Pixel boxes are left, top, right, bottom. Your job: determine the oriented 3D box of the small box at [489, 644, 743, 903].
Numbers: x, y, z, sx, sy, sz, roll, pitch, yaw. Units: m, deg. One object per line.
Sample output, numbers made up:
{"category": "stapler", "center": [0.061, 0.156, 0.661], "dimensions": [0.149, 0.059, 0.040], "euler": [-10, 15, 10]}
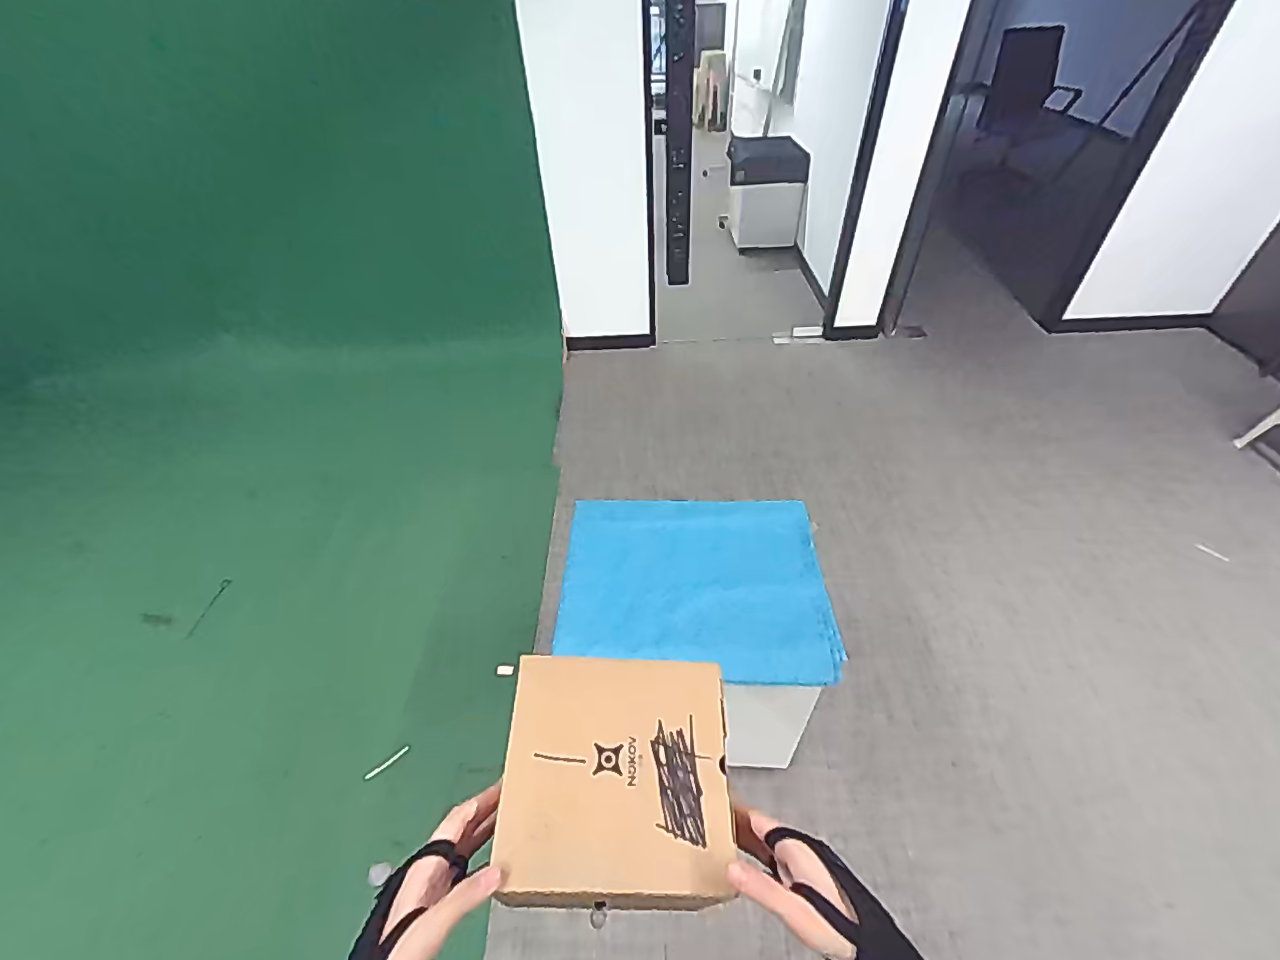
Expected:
{"category": "small box", "center": [-0.022, 0.261, 0.476], "dimensions": [0.179, 0.176, 0.168], "euler": [4, 48, -4]}
